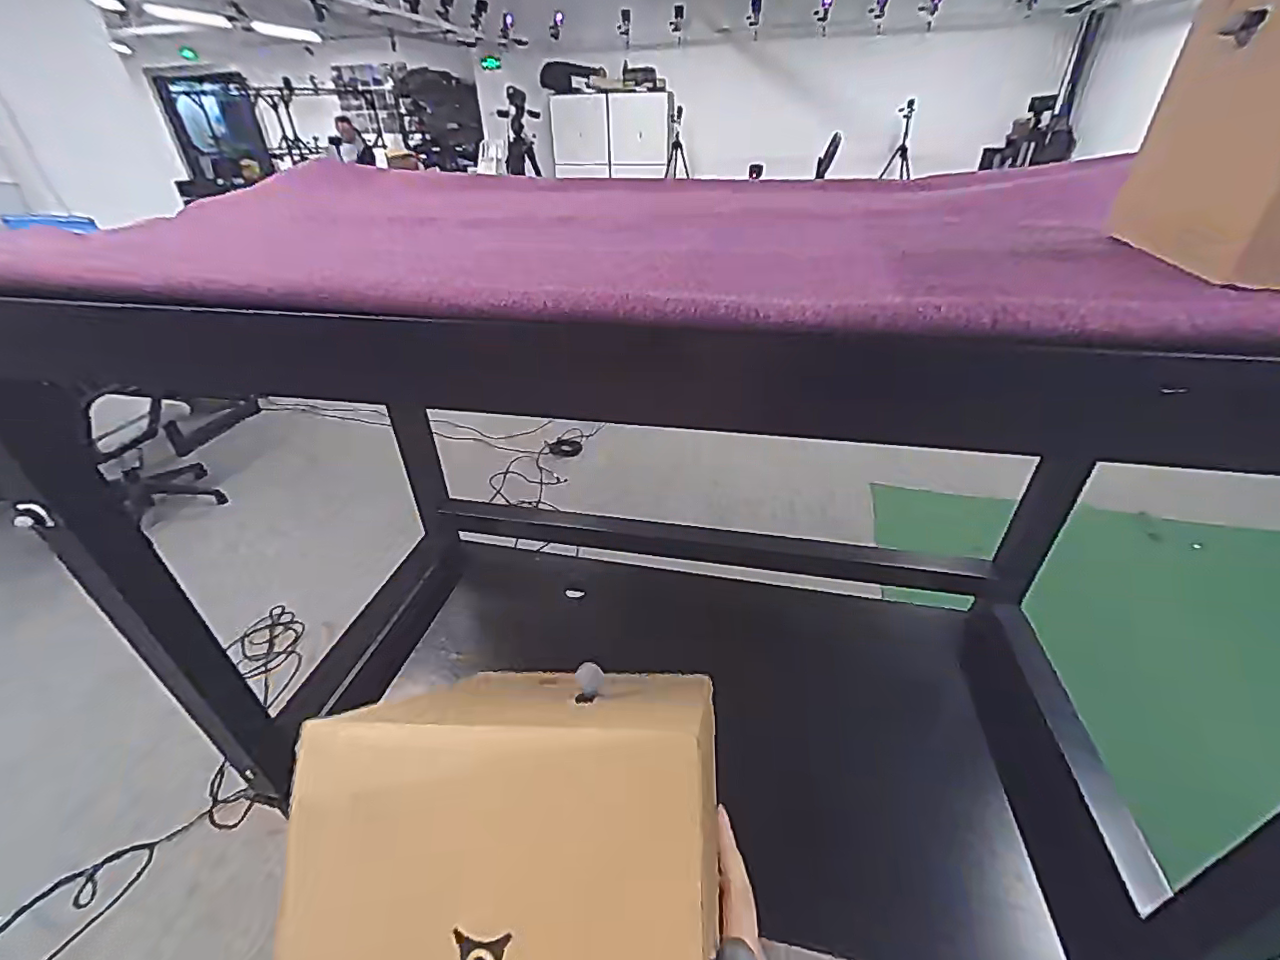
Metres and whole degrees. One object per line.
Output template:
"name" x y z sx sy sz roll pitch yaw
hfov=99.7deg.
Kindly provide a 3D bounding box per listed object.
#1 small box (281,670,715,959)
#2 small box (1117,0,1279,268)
"small box" -0.047 0.196 0.278 0.168 0.176 0.179 -3 77 8
"small box" 0.413 -0.215 0.291 0.168 0.176 0.179 8 36 16
